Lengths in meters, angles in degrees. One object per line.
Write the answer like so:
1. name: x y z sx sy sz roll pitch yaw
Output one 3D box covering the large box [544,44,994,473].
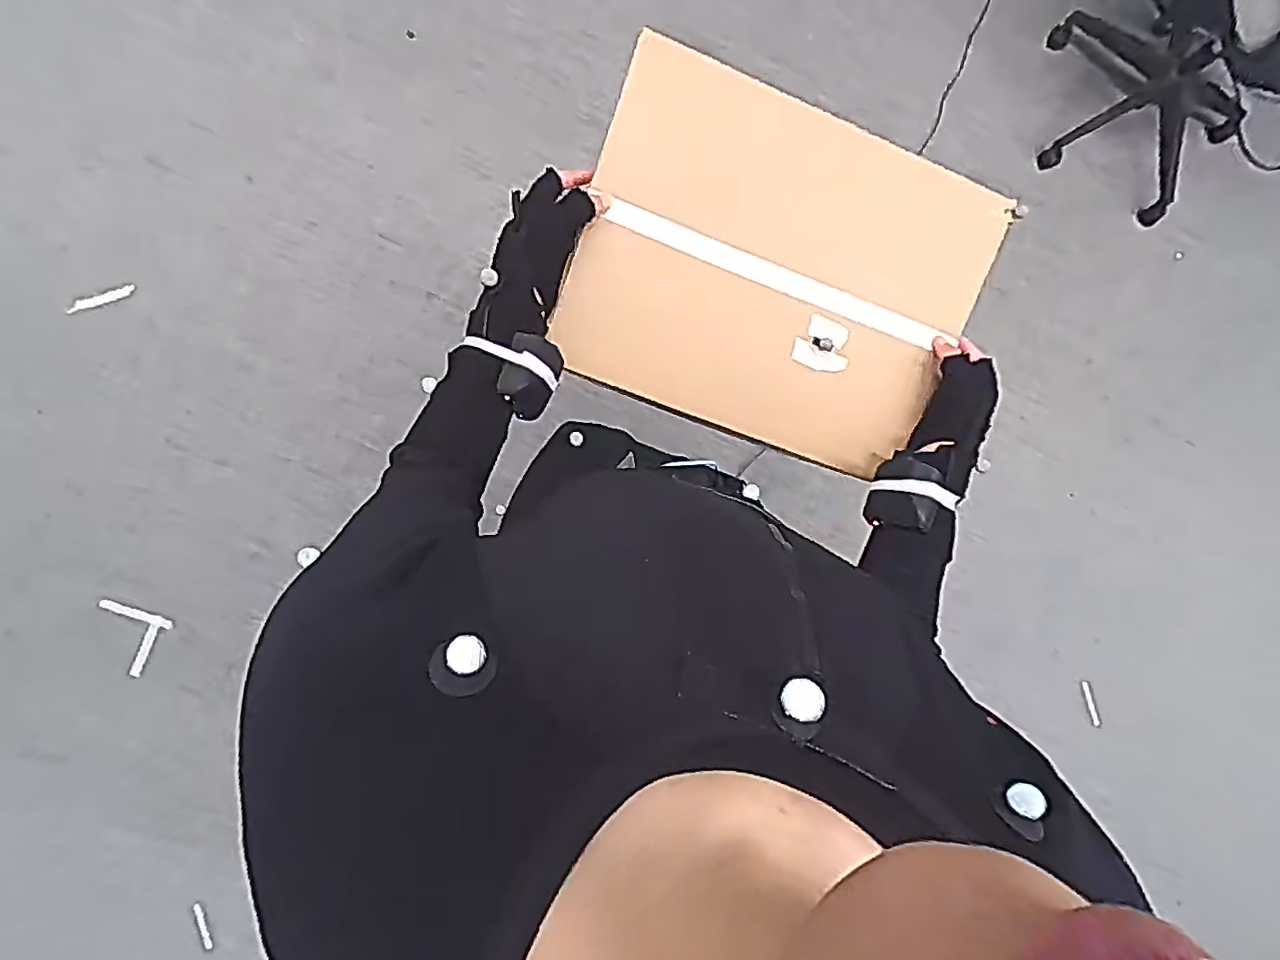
1. large box: 0.120 -0.235 0.700 0.408 0.320 0.320 19 99 -9
